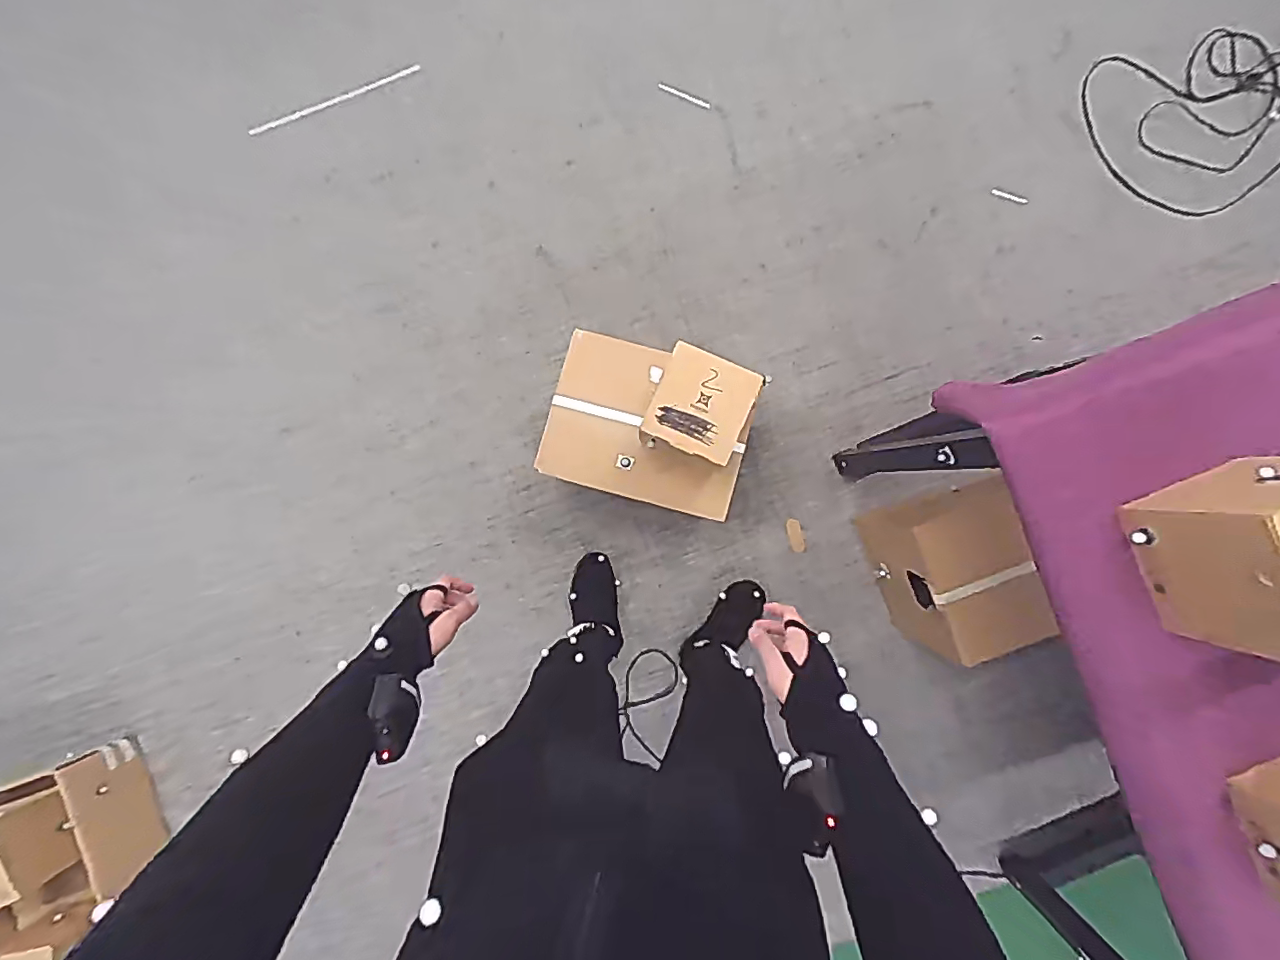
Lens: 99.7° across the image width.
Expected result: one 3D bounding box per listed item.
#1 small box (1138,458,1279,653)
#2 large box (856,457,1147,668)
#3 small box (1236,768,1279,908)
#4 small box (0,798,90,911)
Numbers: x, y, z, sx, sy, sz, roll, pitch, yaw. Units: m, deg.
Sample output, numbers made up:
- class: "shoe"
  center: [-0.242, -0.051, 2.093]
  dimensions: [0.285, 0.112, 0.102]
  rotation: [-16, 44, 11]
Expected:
- class: "small box"
  center: [0.697, 0.078, 0.580]
  dimensions: [0.179, 0.176, 0.168]
  rotation: [-22, 90, -2]
- class: "large box"
  center: [0.789, 0.171, 1.242]
  dimensions: [0.408, 0.320, 0.320]
  rotation: [-21, 90, -1]
- class: "small box"
  center: [0.827, 0.417, 0.578]
  dimensions: [0.179, 0.176, 0.168]
  rotation: [-19, 89, 0]
- class: "small box"
  center: [-1.475, 0.886, 1.270]
  dimensions: [0.168, 0.176, 0.179]
  rotation: [-24, 90, -1]
